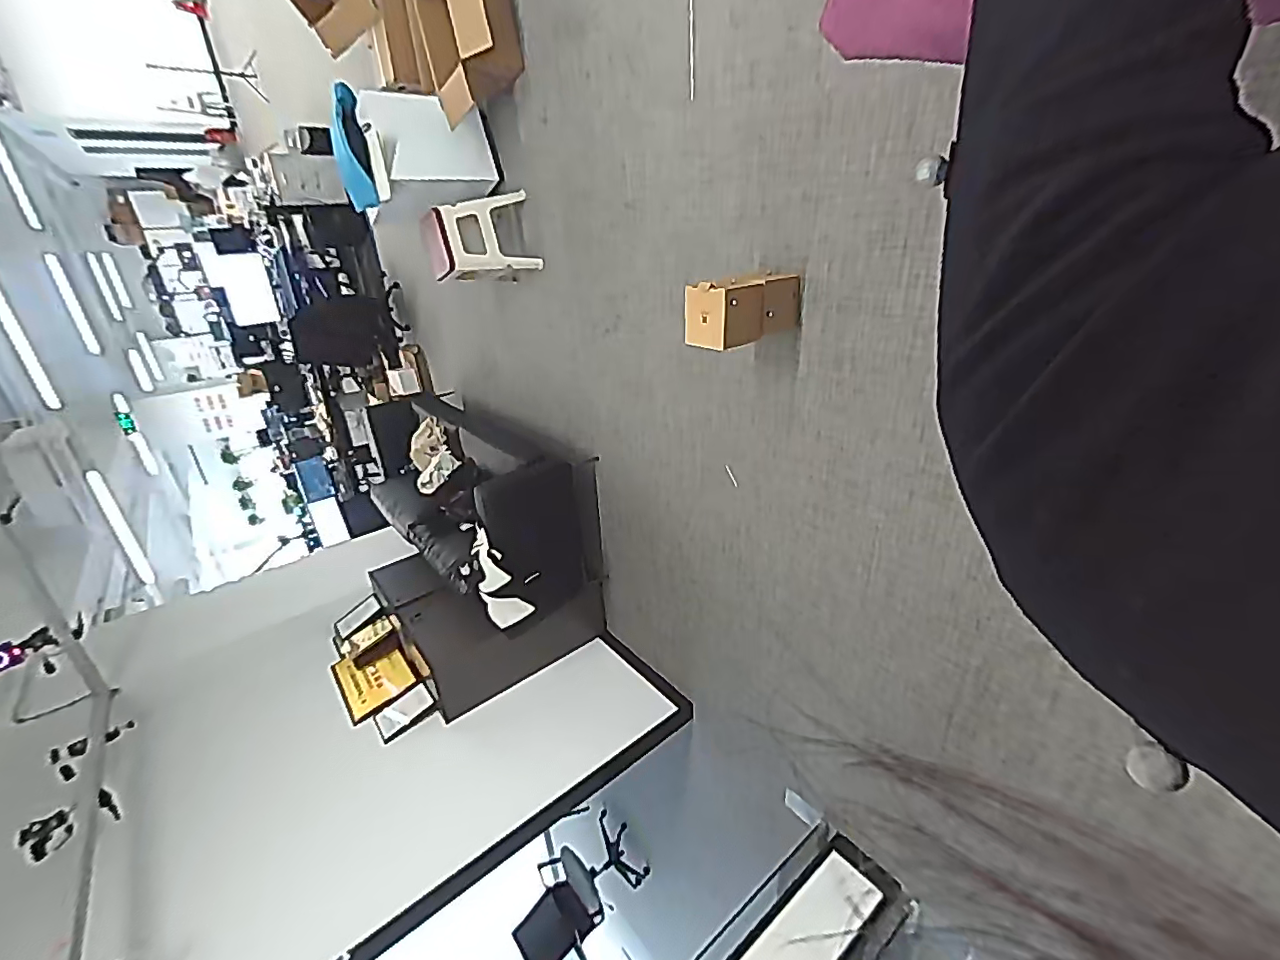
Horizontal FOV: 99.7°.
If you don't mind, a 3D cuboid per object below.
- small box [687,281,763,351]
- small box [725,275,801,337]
[{"bbox_3d":[0.259,-0.504,1.648,0.168,0.176,0.179,26,127,46],"label":"small box"},{"bbox_3d":[0.388,-0.562,1.731,0.179,0.176,0.168,26,128,46],"label":"small box"}]
